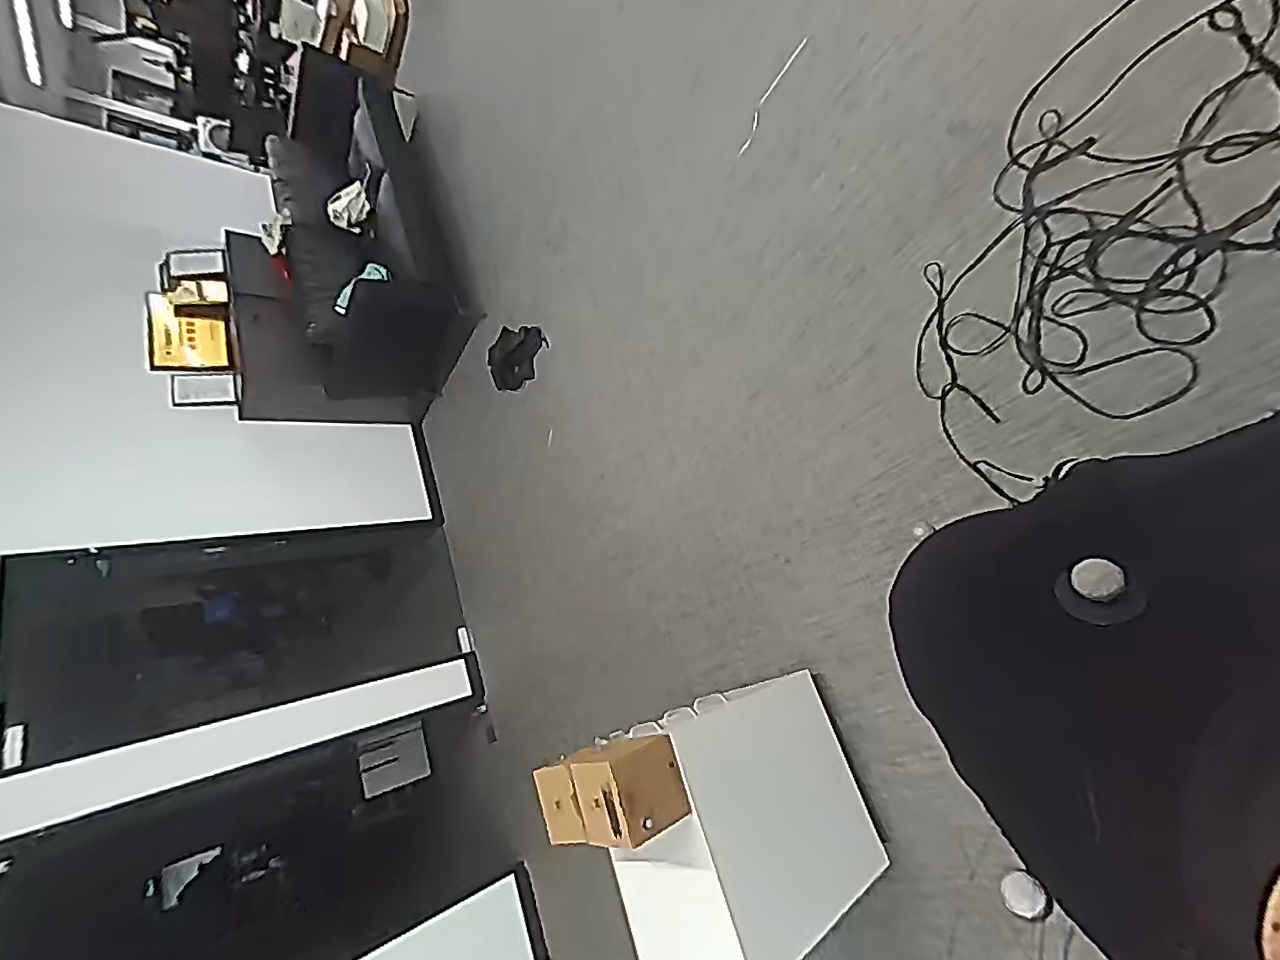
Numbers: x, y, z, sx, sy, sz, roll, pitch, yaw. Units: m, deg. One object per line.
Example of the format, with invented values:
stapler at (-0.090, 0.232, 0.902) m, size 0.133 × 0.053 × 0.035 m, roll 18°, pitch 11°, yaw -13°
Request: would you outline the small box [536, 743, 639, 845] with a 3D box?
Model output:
small box at (-0.122, 0.755, 1.307) m, size 0.179 × 0.176 × 0.168 m, roll -40°, pitch 61°, yaw 43°
